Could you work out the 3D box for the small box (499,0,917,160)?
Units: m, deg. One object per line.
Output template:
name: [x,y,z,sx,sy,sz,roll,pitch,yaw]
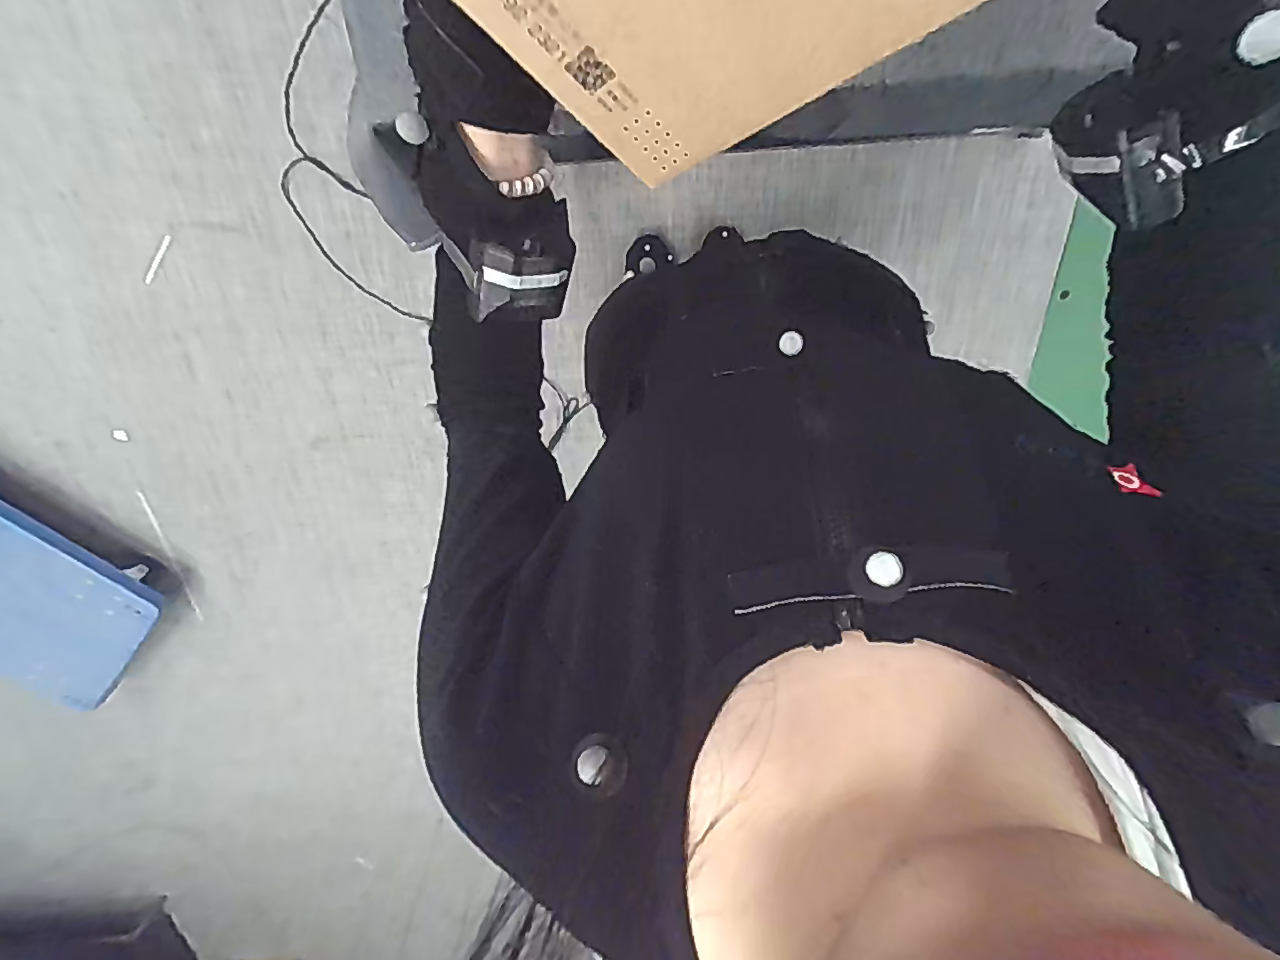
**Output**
small box: [0.024,-0.251,0.170,0.176,0.179,0.168,-4,162,43]
